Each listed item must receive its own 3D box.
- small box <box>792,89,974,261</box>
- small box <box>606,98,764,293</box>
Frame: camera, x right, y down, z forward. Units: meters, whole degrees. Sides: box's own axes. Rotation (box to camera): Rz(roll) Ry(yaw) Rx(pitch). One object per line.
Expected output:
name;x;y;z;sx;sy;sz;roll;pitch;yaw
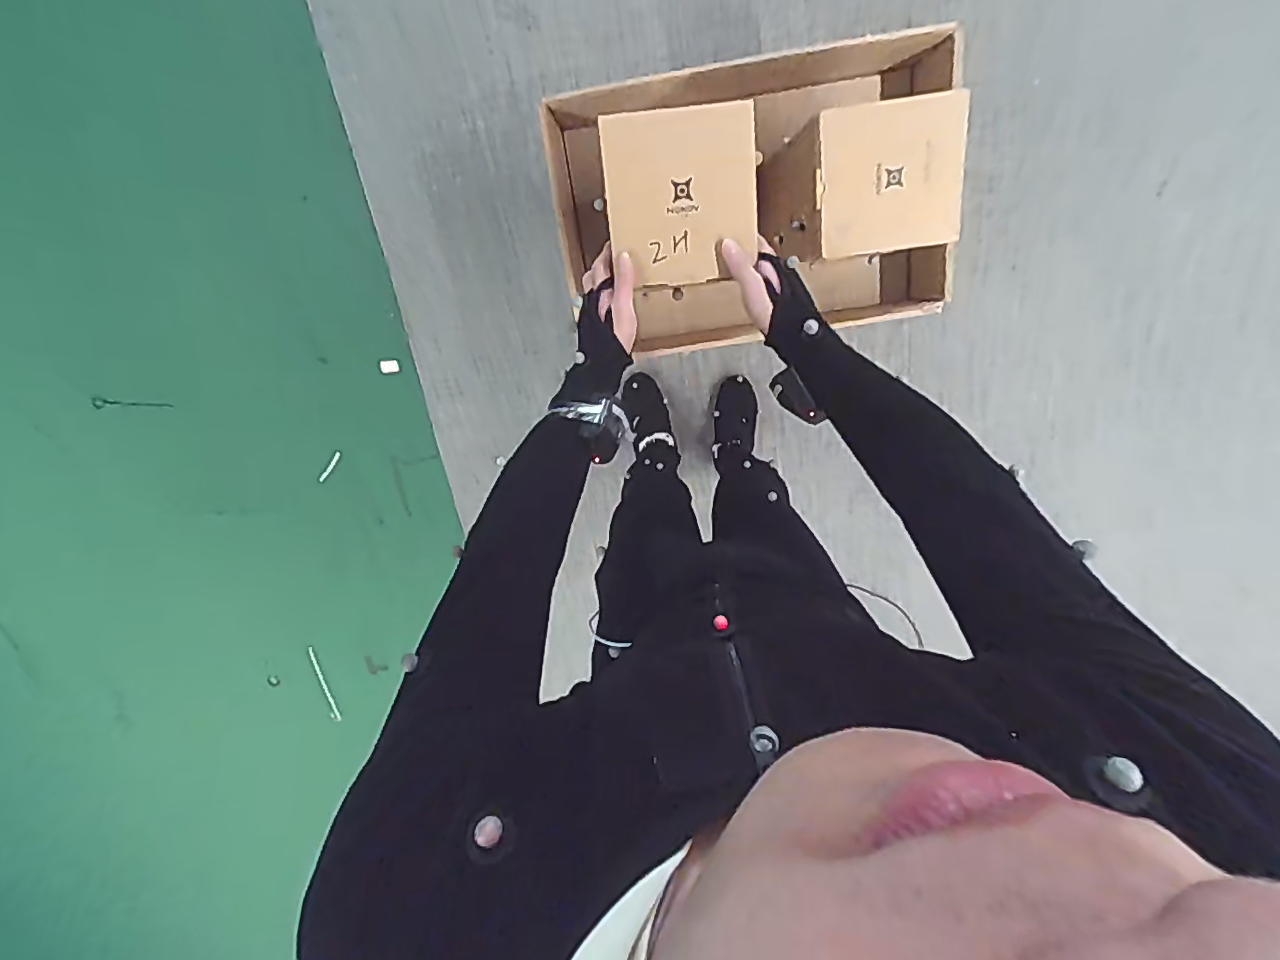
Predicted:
small box;0.307;-0.393;0.726;0.179;0.176;0.168;-6;111;2
small box;0.048;-0.327;0.655;0.168;0.176;0.179;-5;108;0
